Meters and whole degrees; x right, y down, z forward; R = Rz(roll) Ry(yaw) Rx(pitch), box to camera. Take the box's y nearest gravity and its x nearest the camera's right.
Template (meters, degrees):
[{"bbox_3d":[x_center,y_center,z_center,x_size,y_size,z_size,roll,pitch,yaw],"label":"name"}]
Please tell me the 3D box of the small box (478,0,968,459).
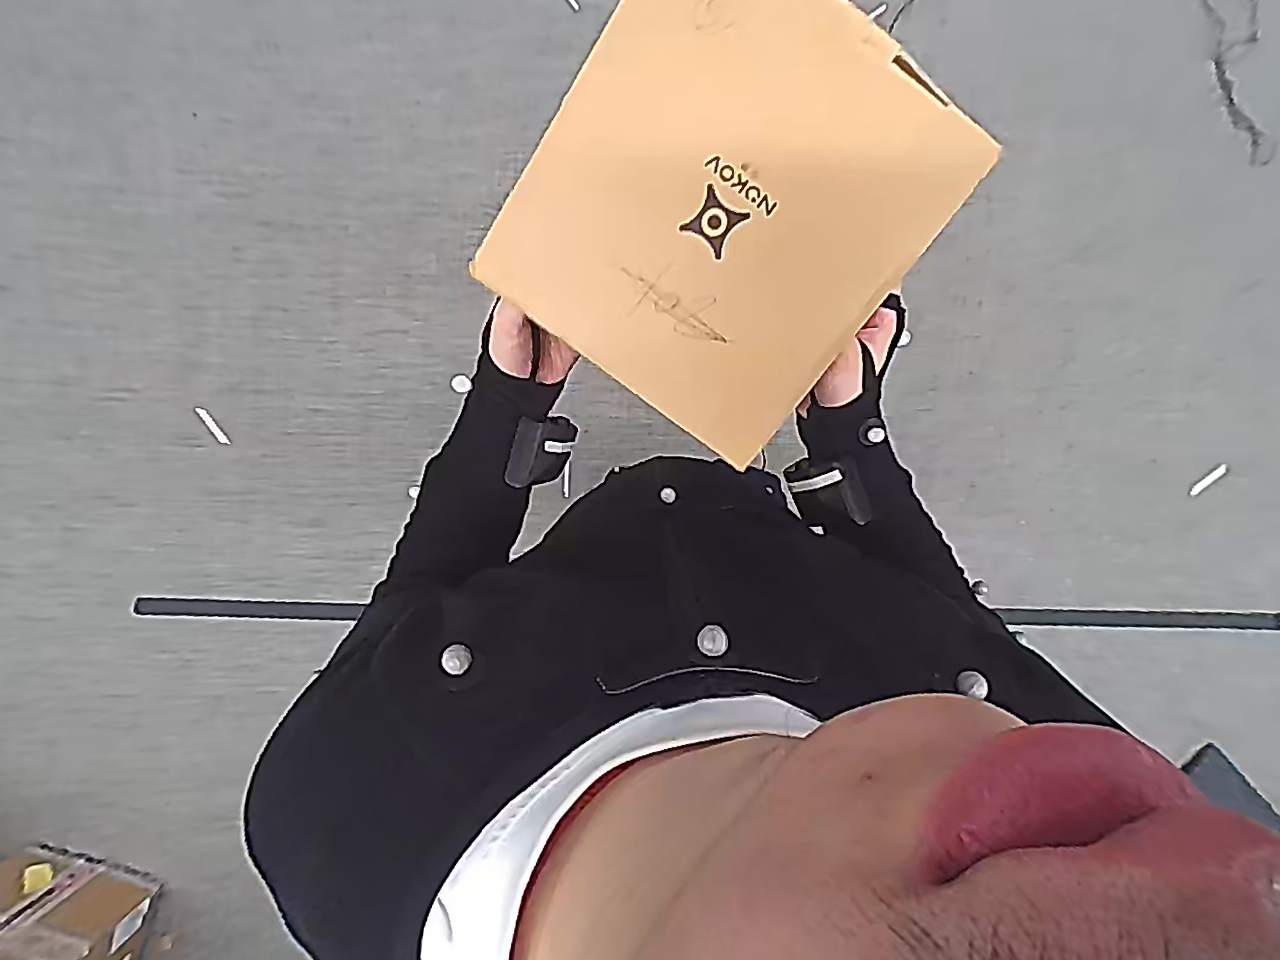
[{"bbox_3d":[0.038,-0.145,0.328,0.168,0.176,0.179,34,107,-5],"label":"small box"}]
